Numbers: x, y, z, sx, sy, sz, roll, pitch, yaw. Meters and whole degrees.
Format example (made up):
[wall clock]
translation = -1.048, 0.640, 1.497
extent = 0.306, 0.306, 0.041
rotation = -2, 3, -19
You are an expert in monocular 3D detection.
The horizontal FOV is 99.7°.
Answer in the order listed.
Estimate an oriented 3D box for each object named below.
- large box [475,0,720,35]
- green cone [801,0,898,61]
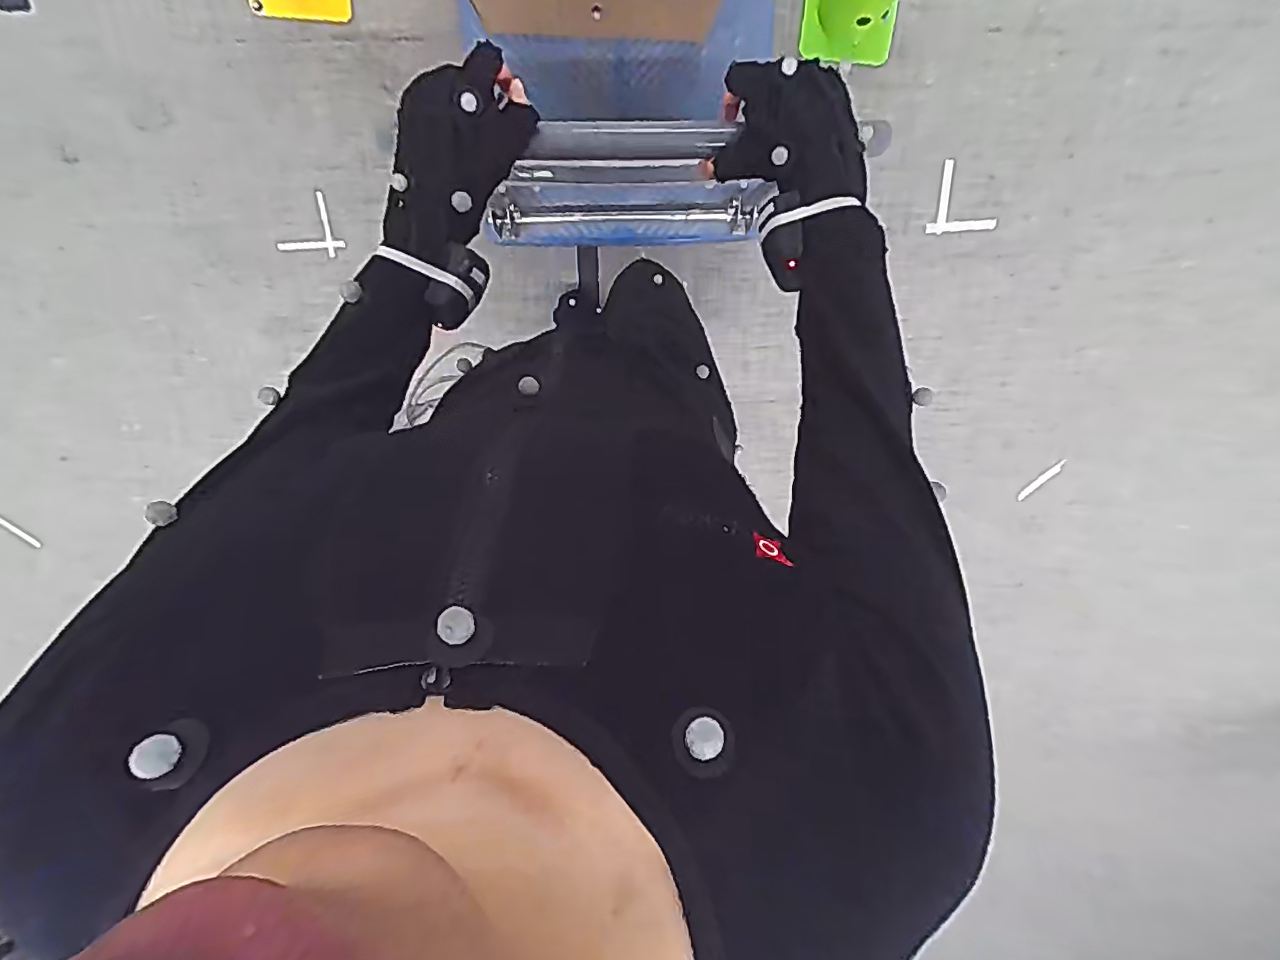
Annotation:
[large box]
translation = -0.068, -0.910, 0.813
extent = 0.408, 0.320, 0.320
rotation = 0, 112, -2
[green cone]
translation = 0.459, -0.947, 0.981
extent = 0.202, 0.368, 0.200
rotation = 1, 112, -5
